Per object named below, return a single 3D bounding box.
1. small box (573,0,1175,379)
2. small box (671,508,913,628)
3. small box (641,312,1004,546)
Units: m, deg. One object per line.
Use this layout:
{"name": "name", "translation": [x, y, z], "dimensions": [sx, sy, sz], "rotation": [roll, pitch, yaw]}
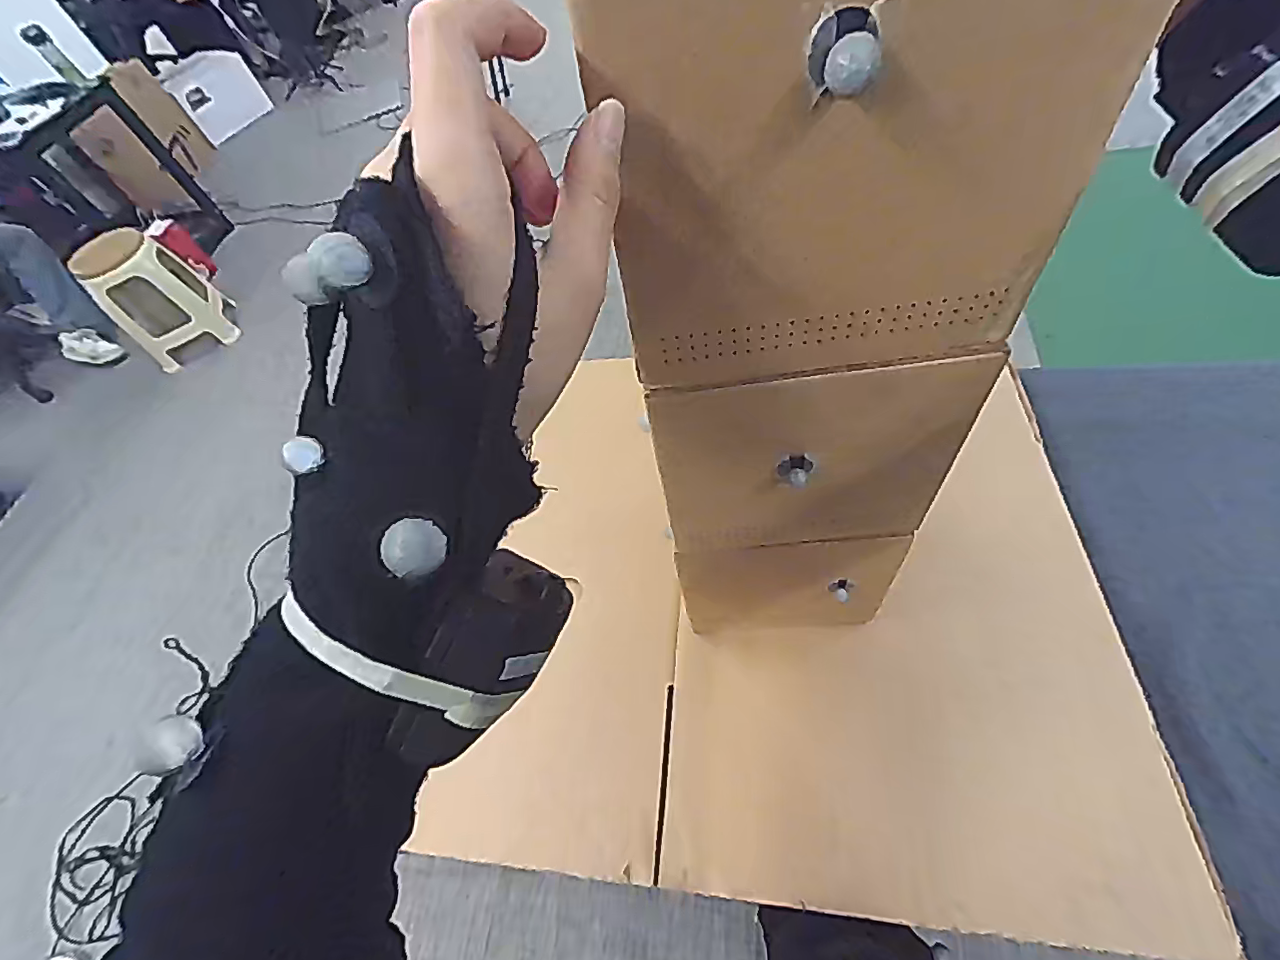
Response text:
{"name": "small box", "translation": [0.074, -0.168, 0.244], "dimensions": [0.179, 0.176, 0.168], "rotation": [-7, 53, 6]}
{"name": "small box", "translation": [0.121, 0.027, 0.502], "dimensions": [0.179, 0.176, 0.168], "rotation": [-6, 53, 7]}
{"name": "small box", "translation": [0.097, -0.070, 0.371], "dimensions": [0.179, 0.176, 0.168], "rotation": [-7, 53, 7]}
